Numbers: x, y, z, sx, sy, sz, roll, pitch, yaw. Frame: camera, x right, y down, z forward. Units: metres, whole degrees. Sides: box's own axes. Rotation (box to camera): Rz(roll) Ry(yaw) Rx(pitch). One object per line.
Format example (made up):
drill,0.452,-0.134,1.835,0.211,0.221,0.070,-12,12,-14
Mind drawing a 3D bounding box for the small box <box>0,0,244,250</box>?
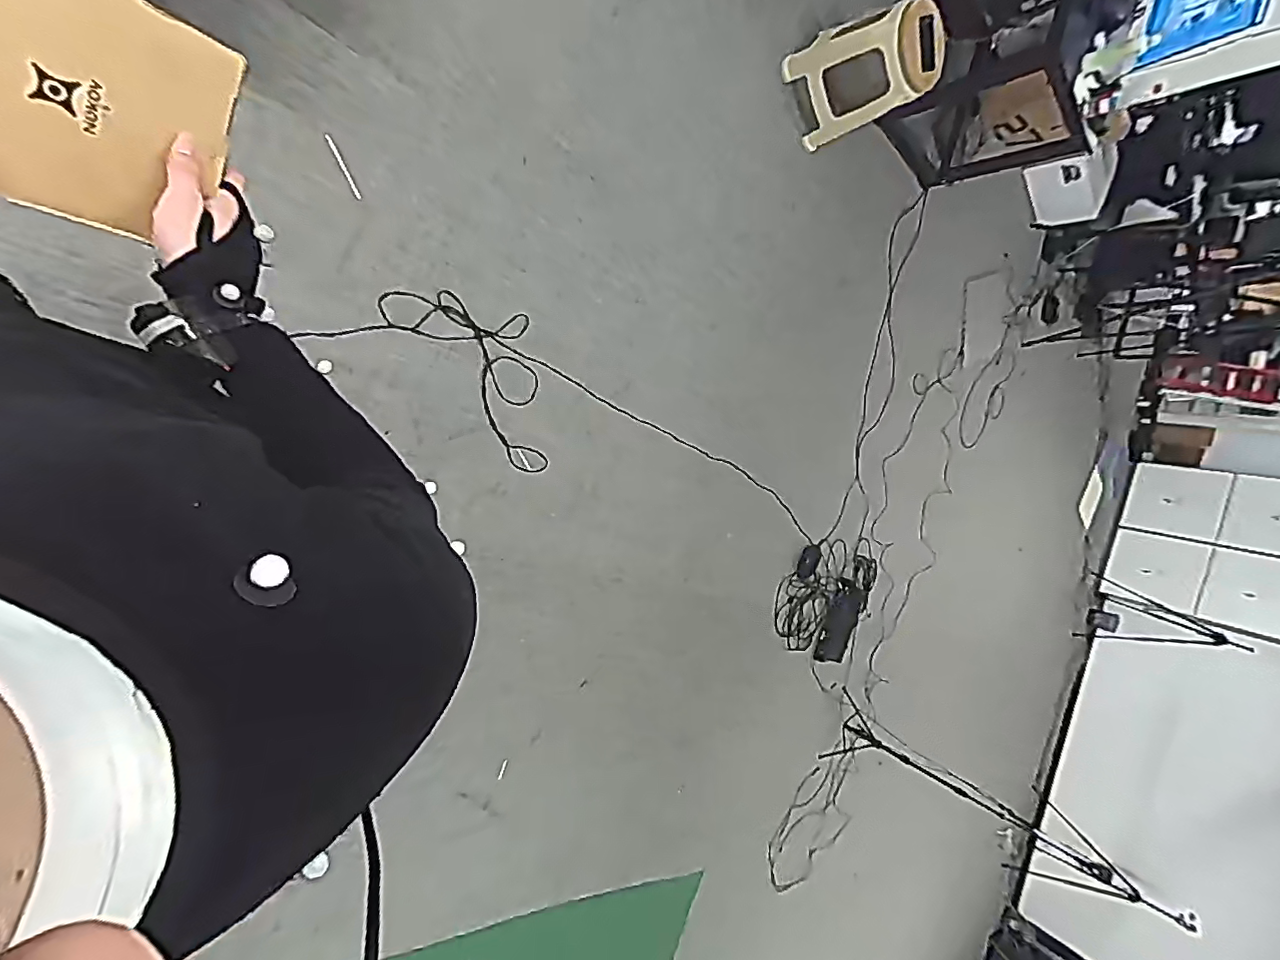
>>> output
small box,-0.454,-0.315,0.427,0.179,0.176,0.168,7,115,-51
